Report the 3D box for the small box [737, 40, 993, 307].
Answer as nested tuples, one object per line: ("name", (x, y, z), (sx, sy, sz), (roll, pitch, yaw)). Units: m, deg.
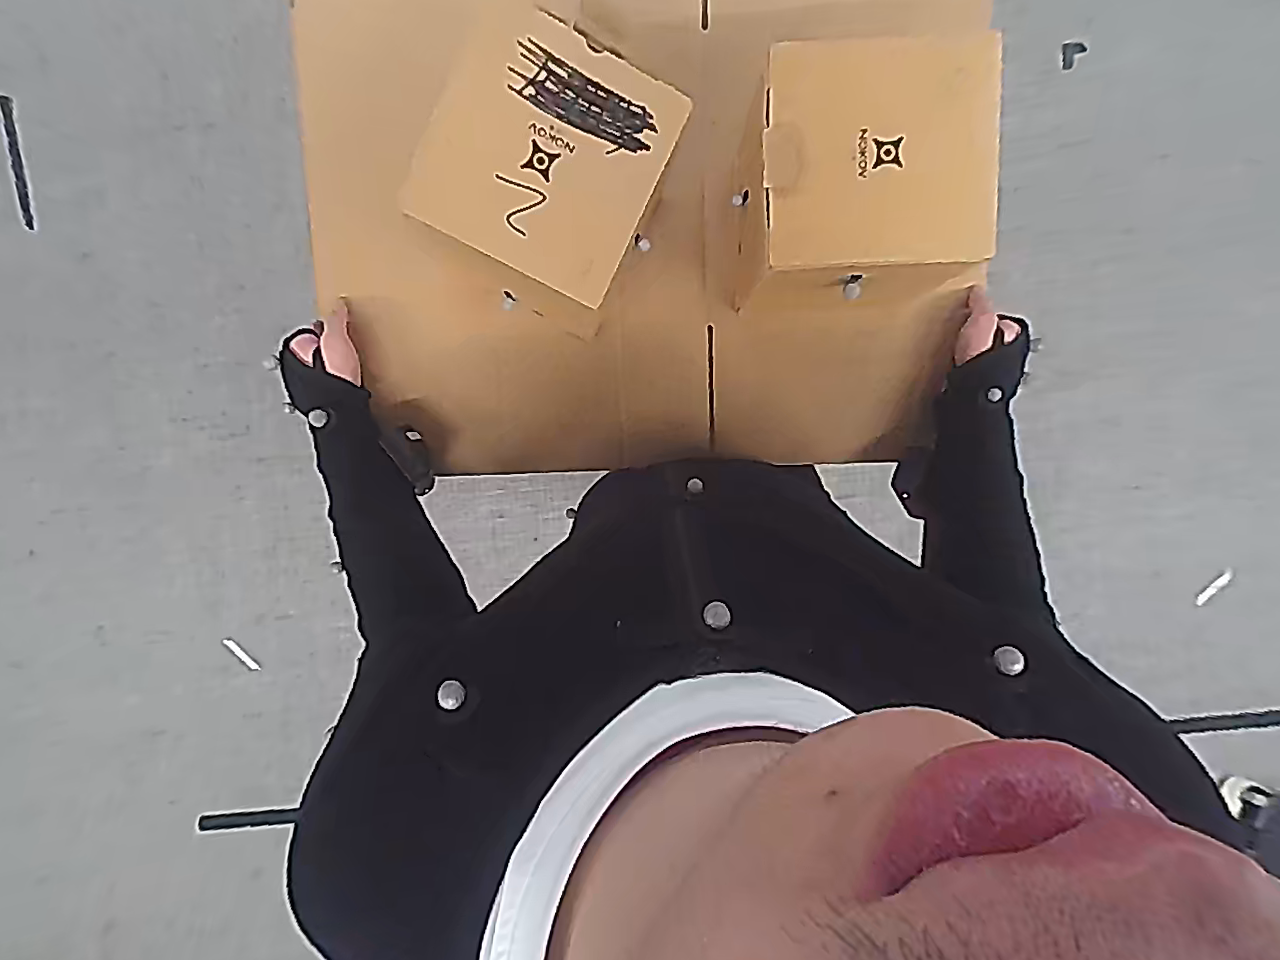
("small box", (0.191, -0.265, 0.507), (0.179, 0.176, 0.168), (-2, 96, 3))
